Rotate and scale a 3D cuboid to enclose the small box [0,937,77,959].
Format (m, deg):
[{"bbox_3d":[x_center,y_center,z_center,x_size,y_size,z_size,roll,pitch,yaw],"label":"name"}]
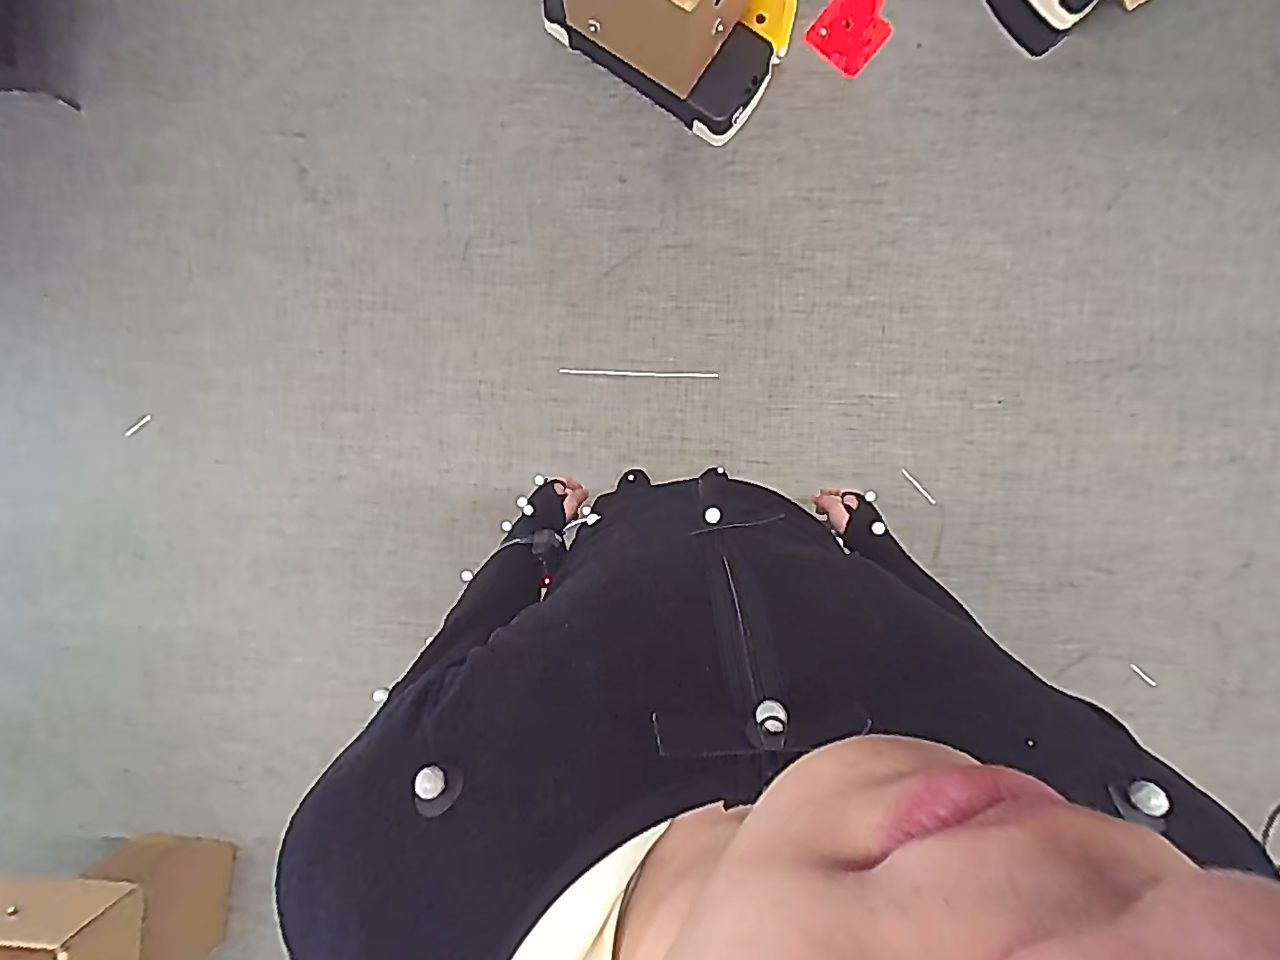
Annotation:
[{"bbox_3d":[-1.408,1.149,1.179,0.179,0.176,0.168,5,89,0],"label":"small box"}]
